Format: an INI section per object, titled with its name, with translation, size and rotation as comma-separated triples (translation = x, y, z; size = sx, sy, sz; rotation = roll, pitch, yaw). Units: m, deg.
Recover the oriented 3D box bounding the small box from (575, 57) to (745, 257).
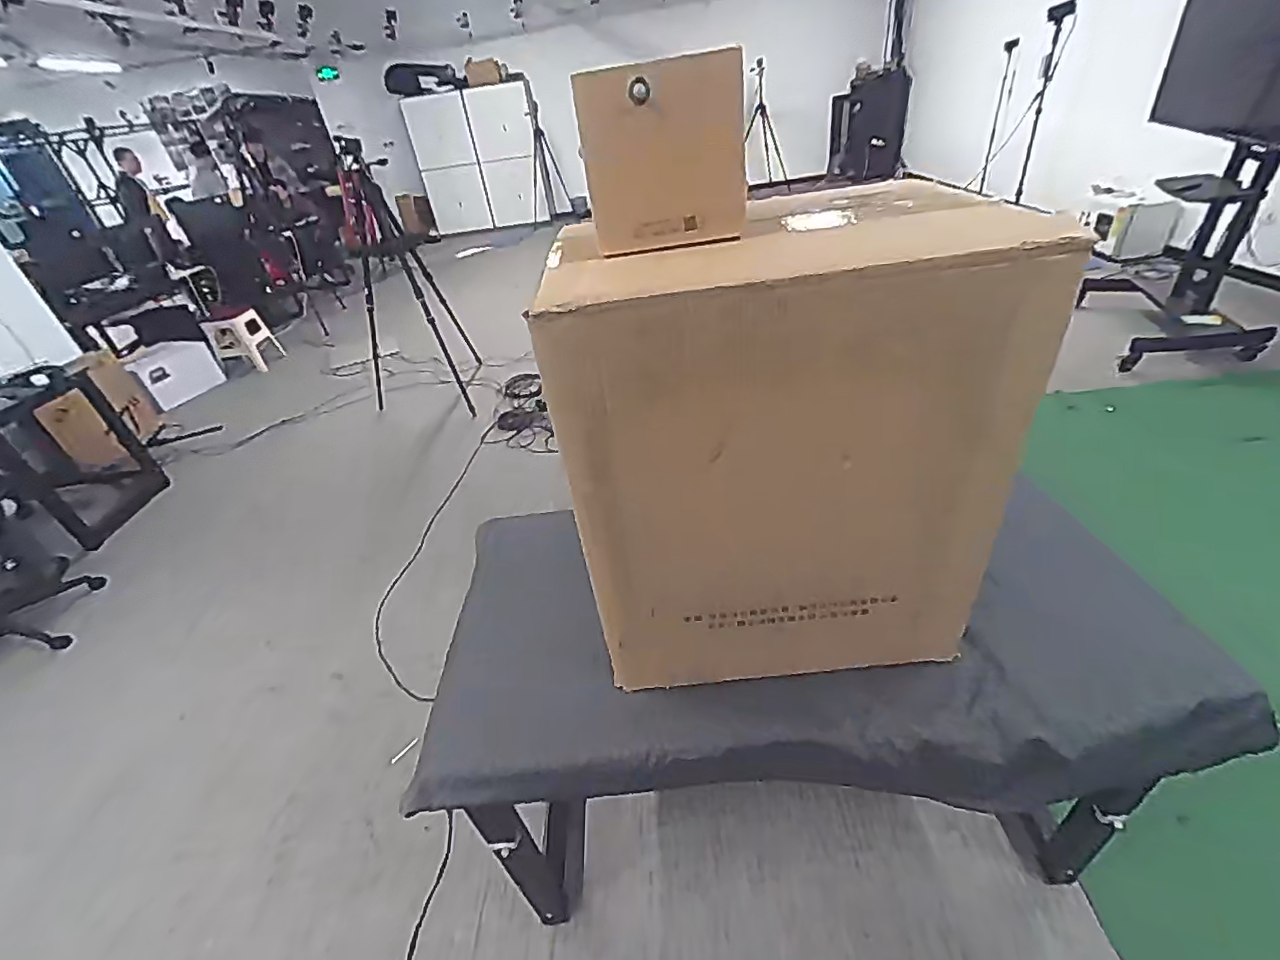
[small box]
translation = 0.028, -0.369, 0.632
size = 0.168, 0.176, 0.179
rotation = -7, 33, 4
